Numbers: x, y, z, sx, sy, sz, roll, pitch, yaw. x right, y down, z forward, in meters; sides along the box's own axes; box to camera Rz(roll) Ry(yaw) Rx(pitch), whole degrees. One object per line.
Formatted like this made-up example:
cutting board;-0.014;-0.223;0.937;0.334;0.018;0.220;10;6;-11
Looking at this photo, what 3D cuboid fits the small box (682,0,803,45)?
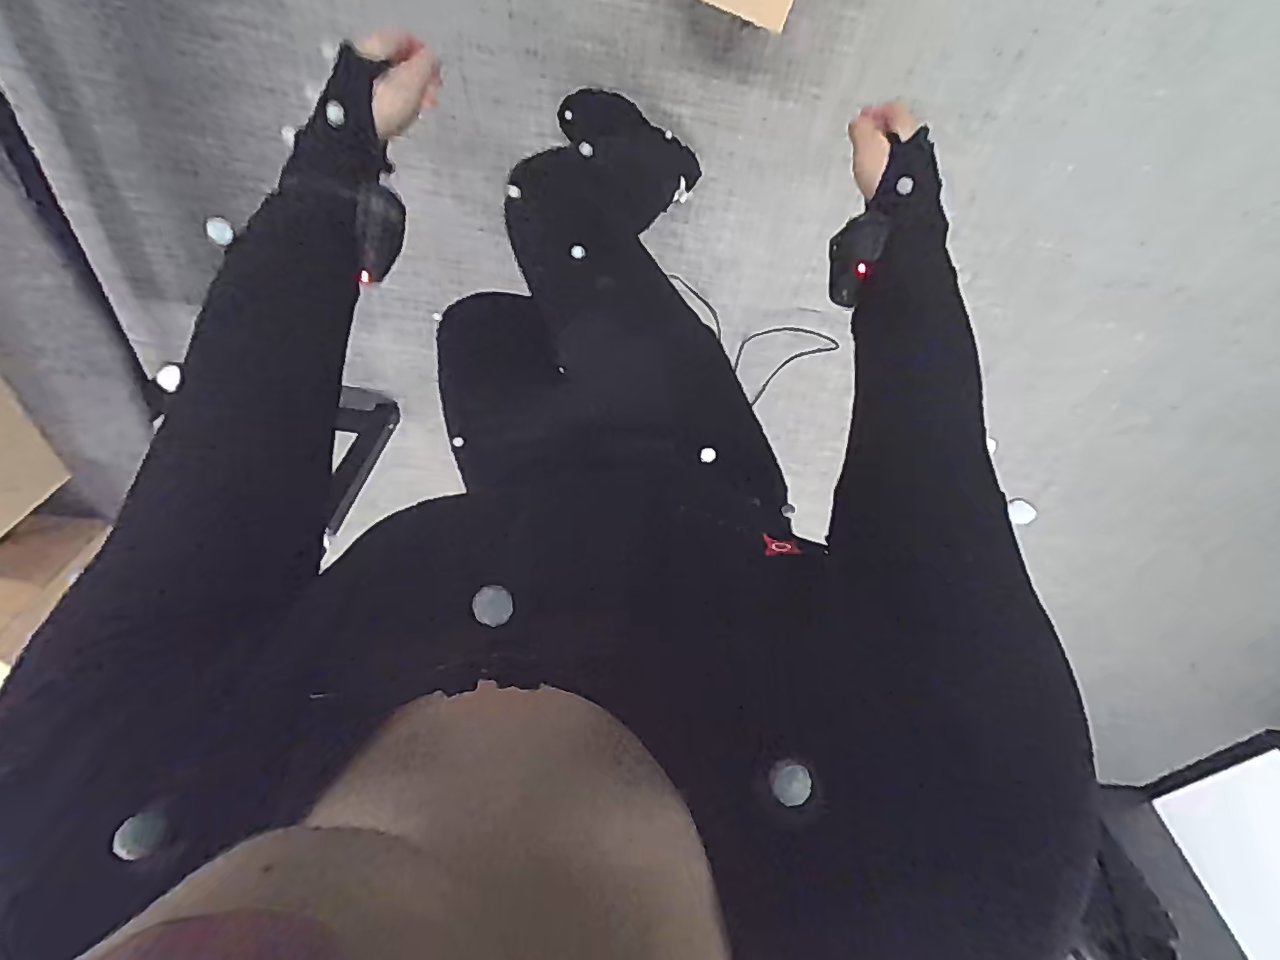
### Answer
small box;0.147;-0.745;0.750;0.179;0.176;0.168;14;131;-12
